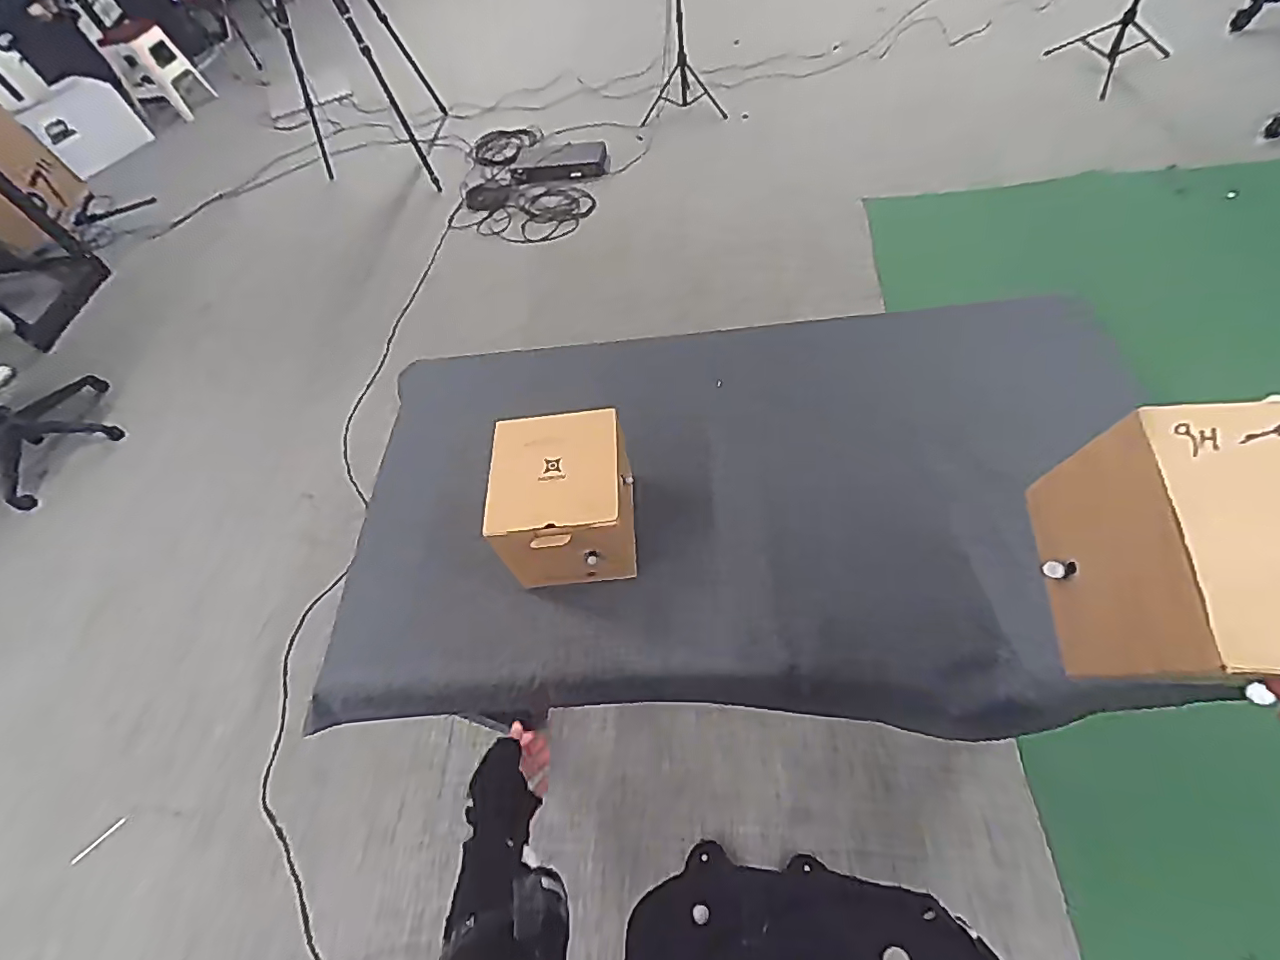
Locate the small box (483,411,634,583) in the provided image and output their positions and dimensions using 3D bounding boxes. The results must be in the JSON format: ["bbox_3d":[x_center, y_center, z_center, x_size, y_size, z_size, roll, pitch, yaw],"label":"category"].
[{"bbox_3d":[-0.100,0.032,0.742,0.168,0.176,0.179,-6,55,3],"label":"small box"}]

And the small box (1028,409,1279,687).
[{"bbox_3d":[0.433,0.061,0.405,0.168,0.176,0.179,-2,69,10],"label":"small box"}]
